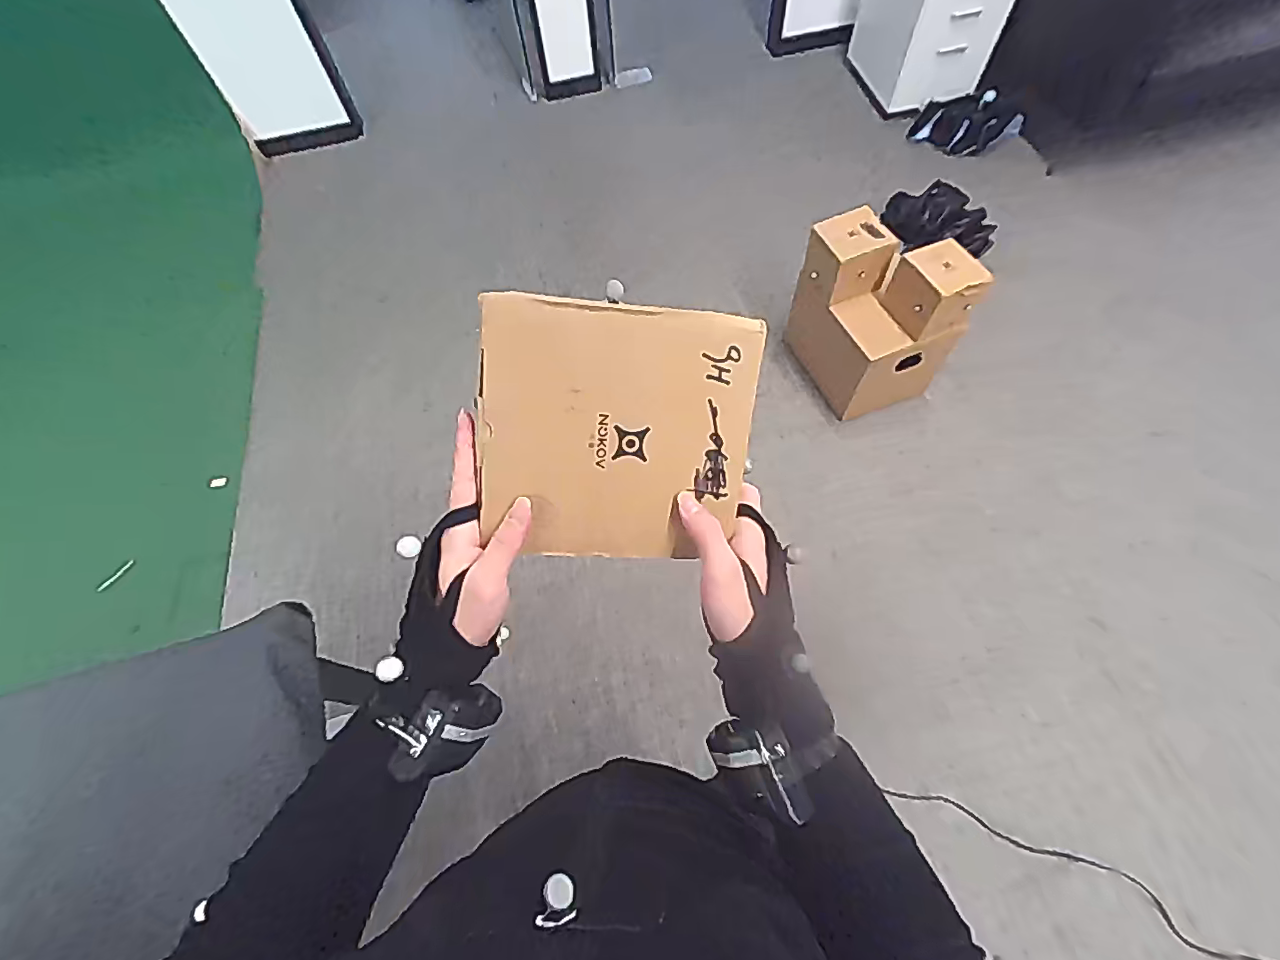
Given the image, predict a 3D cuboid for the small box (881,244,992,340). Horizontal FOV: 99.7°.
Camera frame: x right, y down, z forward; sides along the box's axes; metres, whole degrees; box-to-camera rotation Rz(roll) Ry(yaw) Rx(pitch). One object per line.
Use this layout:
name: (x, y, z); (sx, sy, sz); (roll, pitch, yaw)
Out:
small box: (0.806, -0.509, 1.491); (0.168, 0.176, 0.179); (-21, 62, -11)

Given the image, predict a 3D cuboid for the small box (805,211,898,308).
small box: (0.603, -0.635, 1.569); (0.179, 0.176, 0.168); (-20, 63, -3)
